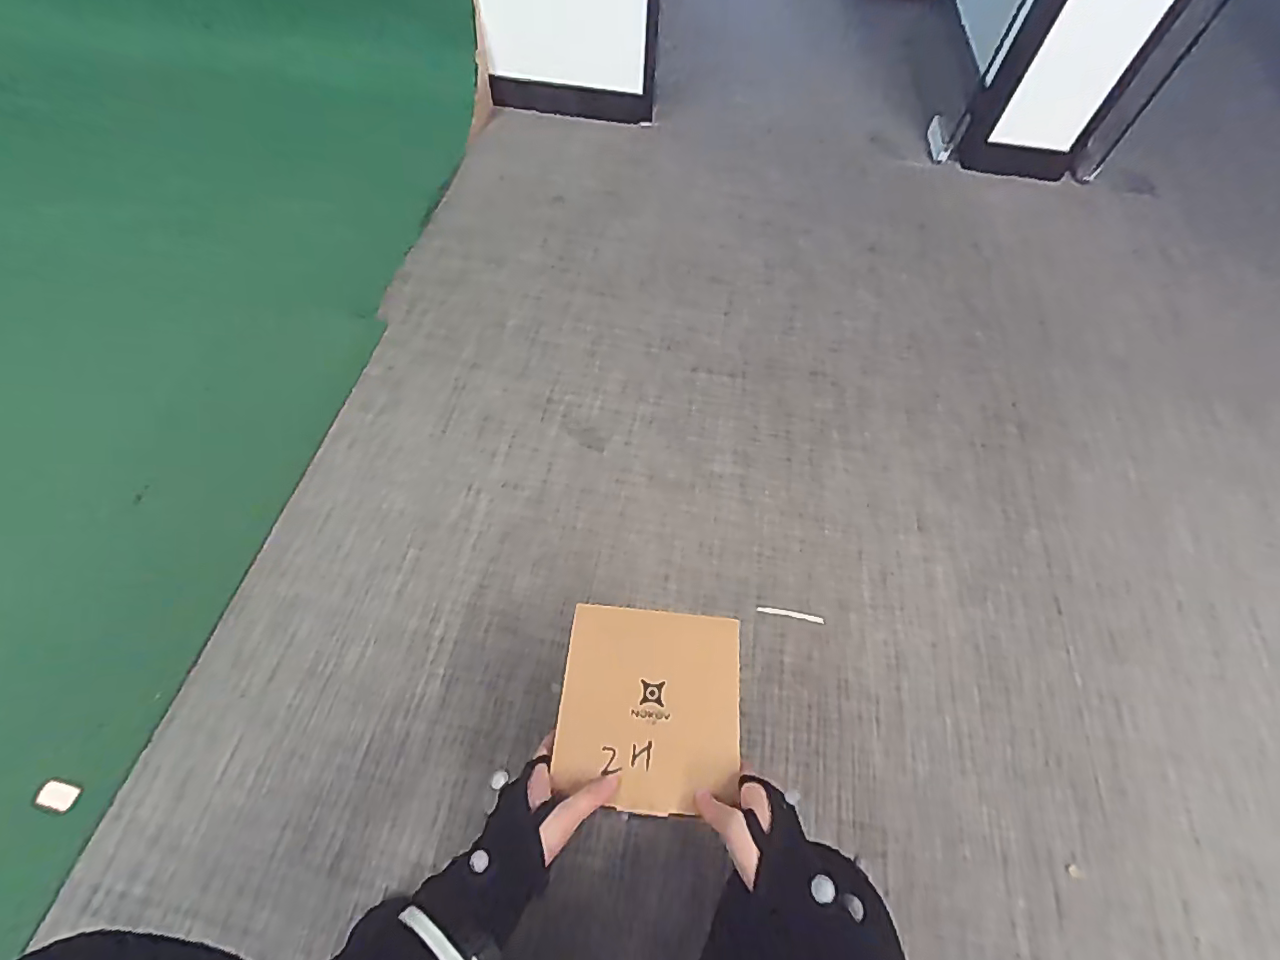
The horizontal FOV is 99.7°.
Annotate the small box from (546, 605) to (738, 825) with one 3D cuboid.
[{"bbox_3d":[0.006,0.250,0.570,0.168,0.176,0.179,6,60,2],"label":"small box"}]
